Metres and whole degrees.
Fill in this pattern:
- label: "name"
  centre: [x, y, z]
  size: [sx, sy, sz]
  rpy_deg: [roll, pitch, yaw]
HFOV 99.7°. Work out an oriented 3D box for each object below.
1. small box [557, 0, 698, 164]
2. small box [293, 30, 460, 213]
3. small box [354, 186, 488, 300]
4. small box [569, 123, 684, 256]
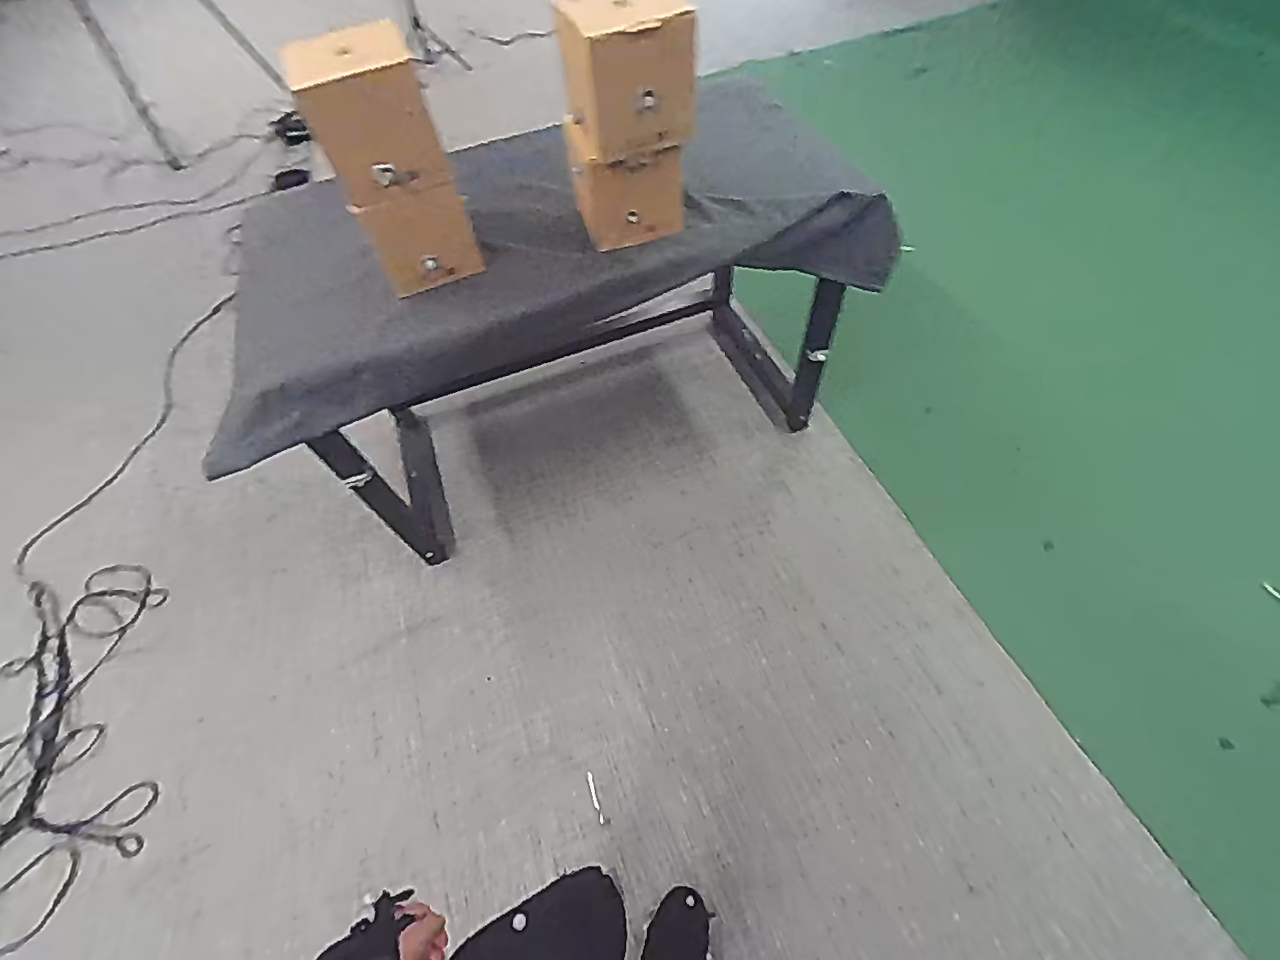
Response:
- label: "small box"
  centre: [-0.016, -0.625, 0.852]
  size: [0.168, 0.176, 0.179]
  rpy_deg: [-20, 58, -8]
- label: "small box"
  centre: [-0.400, -0.548, 0.834]
  size: [0.168, 0.176, 0.179]
  rpy_deg: [-23, 59, -9]
- label: "small box"
  centre: [-0.392, -0.457, 0.968]
  size: [0.168, 0.176, 0.179]
  rpy_deg: [-23, 58, -10]
- label: "small box"
  centre: [-0.024, -0.546, 0.997]
  size: [0.168, 0.176, 0.179]
  rpy_deg: [-17, 57, -6]
